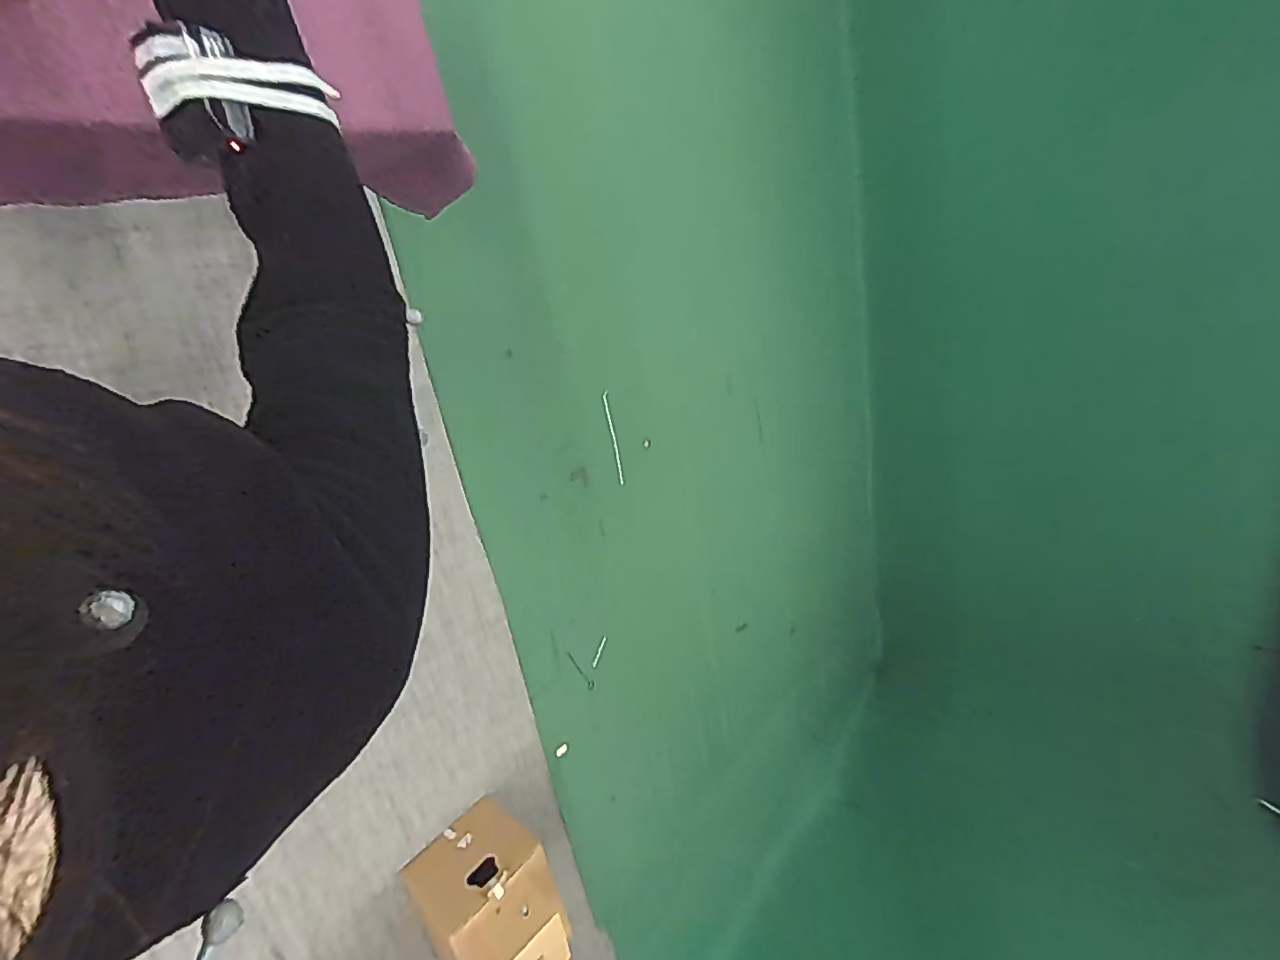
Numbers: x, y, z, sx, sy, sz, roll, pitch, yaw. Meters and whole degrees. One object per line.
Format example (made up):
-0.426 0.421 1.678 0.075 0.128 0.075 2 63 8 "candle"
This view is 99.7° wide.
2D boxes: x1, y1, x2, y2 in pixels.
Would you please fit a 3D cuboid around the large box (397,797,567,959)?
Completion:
-0.481 1.298 1.671 0.320 0.320 0.408 -29 116 -42 "large box"

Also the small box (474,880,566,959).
-0.328 1.242 1.468 0.168 0.176 0.179 -25 113 -42 "small box"
